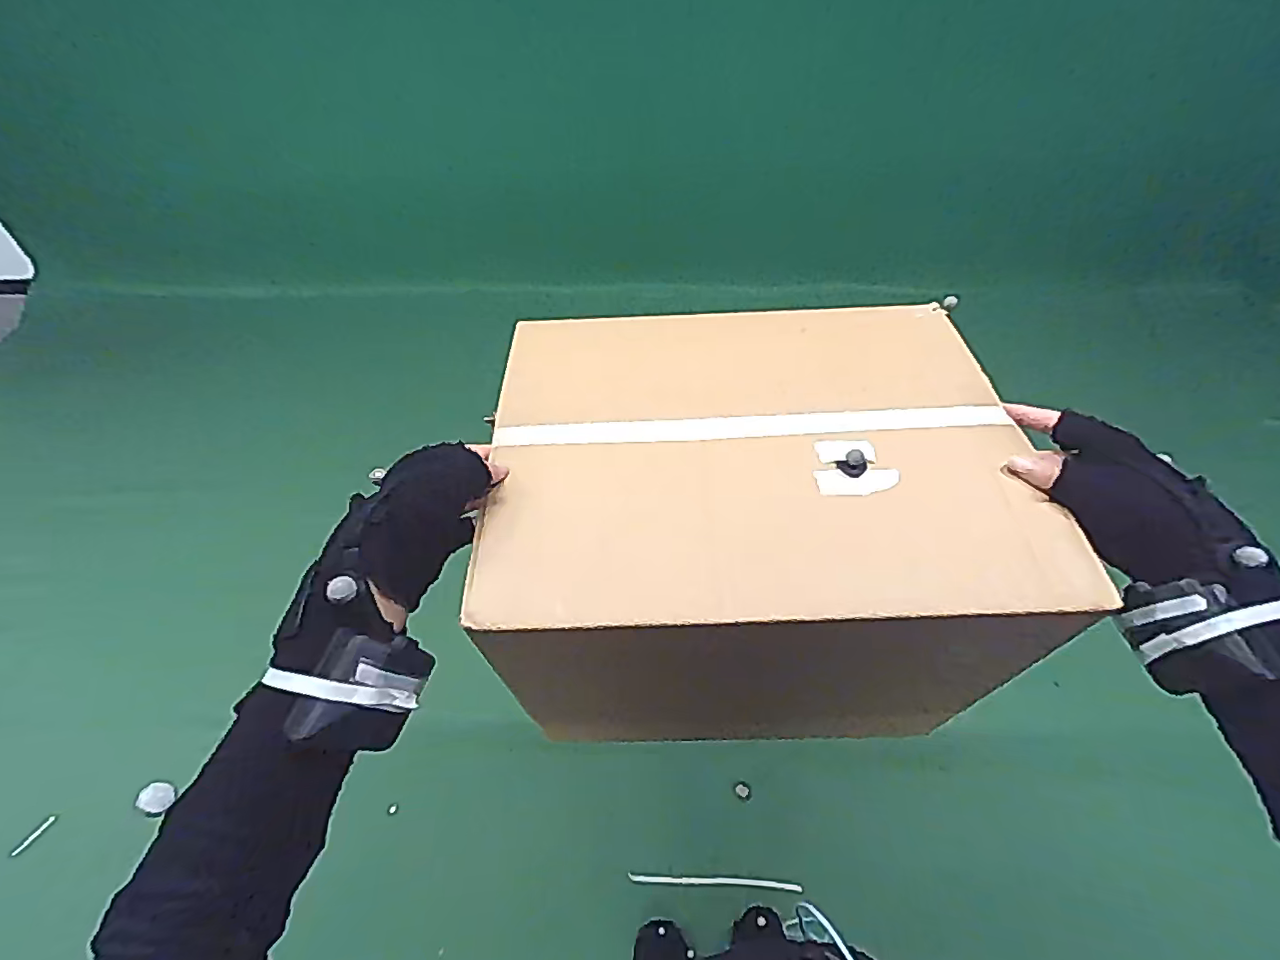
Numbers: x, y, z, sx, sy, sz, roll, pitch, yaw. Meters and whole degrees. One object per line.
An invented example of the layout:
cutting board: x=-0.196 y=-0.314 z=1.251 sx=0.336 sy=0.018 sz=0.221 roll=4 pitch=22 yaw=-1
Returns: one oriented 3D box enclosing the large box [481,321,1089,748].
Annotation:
large box: x=0.093 y=0.065 z=0.556 sx=0.408 sy=0.320 sz=0.320 roll=-3 pitch=52 yaw=1
